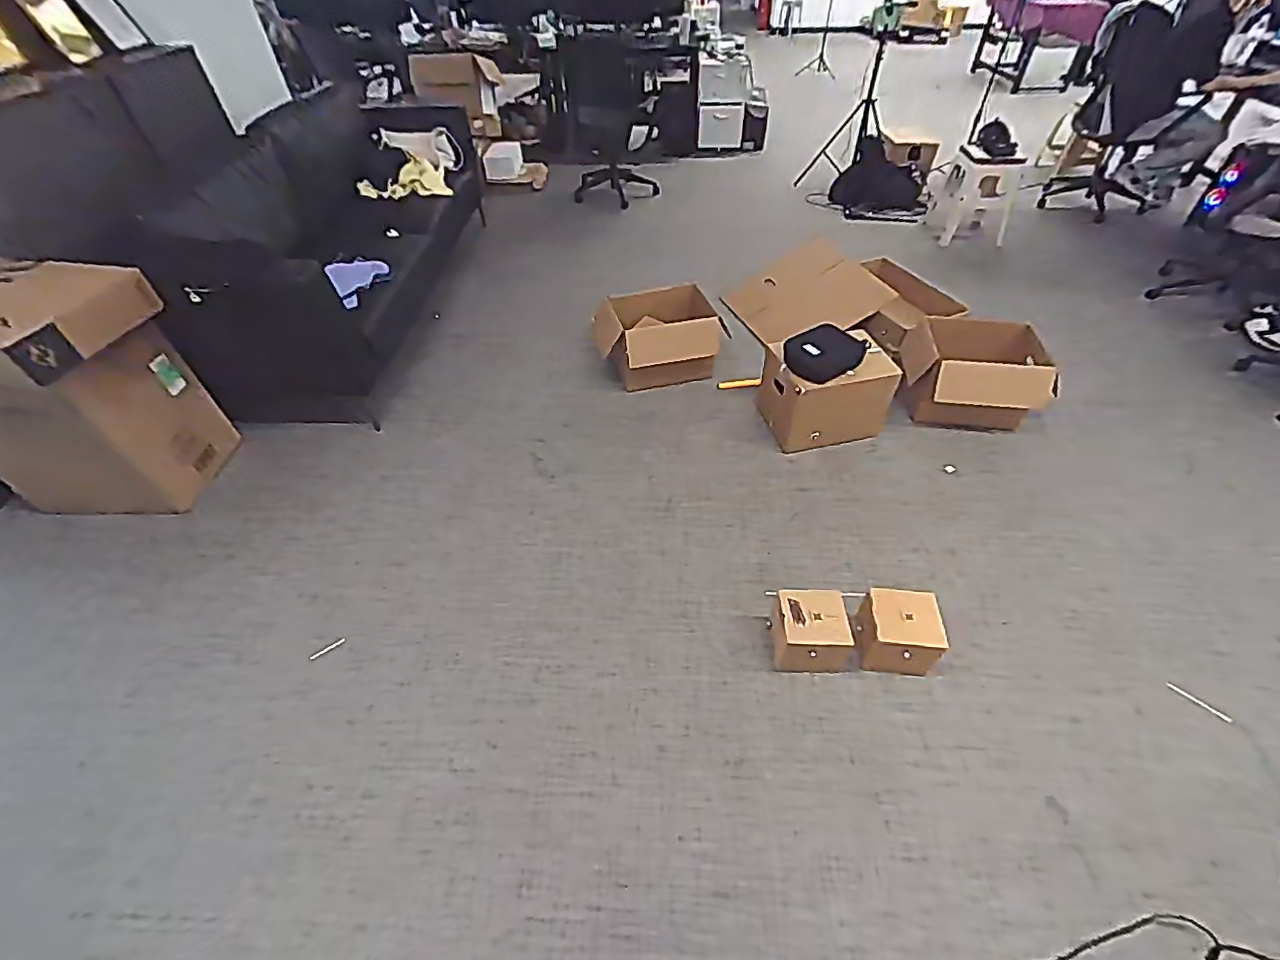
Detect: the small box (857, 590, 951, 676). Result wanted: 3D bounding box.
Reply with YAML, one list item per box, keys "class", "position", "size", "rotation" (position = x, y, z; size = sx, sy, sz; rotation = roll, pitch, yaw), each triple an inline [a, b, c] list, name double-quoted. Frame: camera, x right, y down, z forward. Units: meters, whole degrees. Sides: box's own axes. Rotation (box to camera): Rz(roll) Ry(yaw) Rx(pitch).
- class: "small box"
  position: [0.719, 0.426, 1.495]
  size: [0.179, 0.176, 0.168]
  rotation: [3, 47, 7]

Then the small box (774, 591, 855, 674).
- class: "small box"
  position: [0.474, 0.426, 1.504]
  size: [0.179, 0.176, 0.168]
  rotation: [1, 46, 2]
